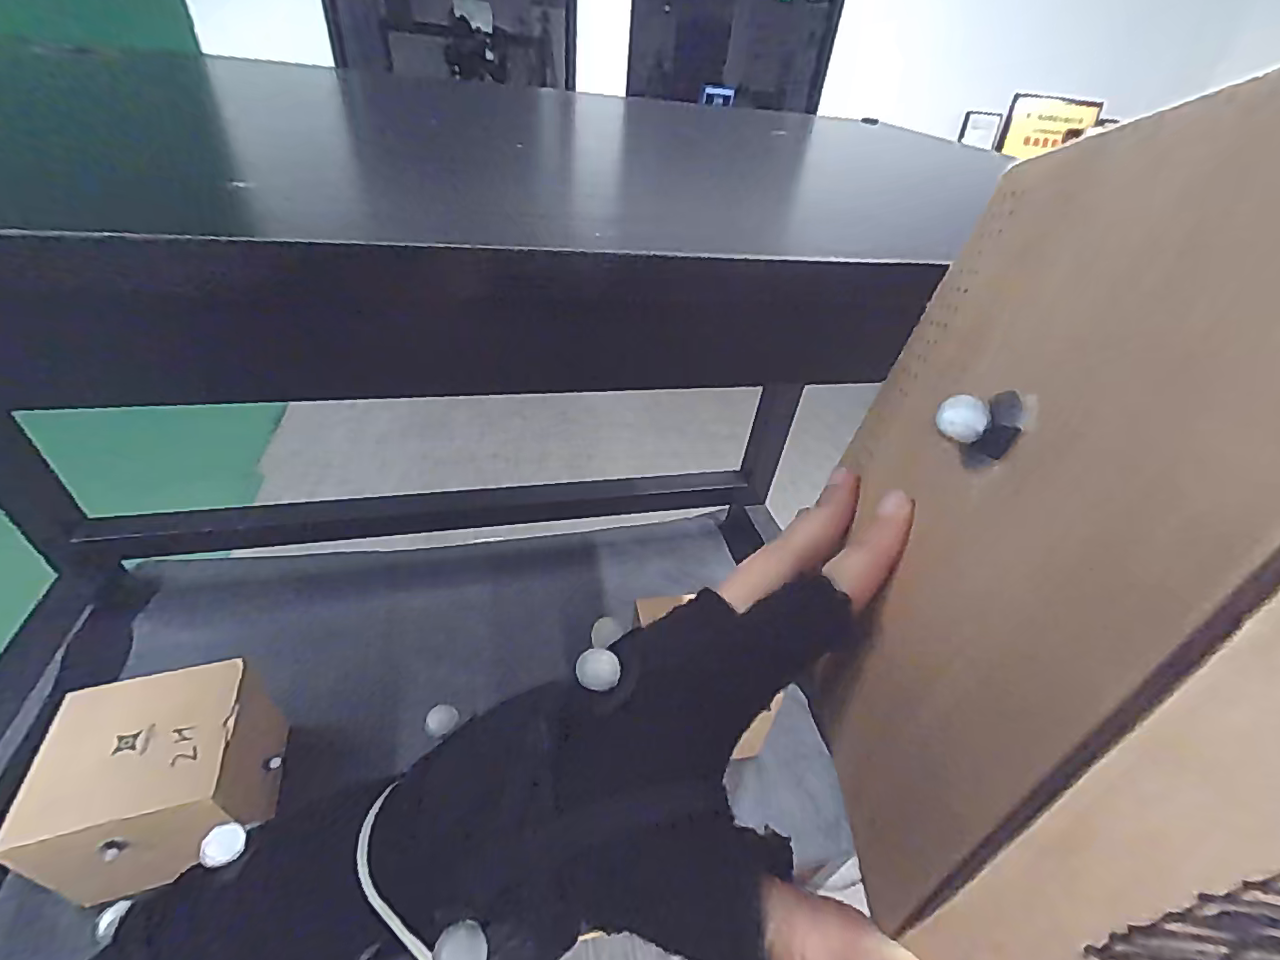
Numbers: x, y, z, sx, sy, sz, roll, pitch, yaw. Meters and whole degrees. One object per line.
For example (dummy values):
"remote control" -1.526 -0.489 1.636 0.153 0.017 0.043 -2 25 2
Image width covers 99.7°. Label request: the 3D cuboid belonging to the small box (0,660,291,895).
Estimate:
"small box" -0.541 0.343 0.628 0.179 0.176 0.168 -7 41 -18
